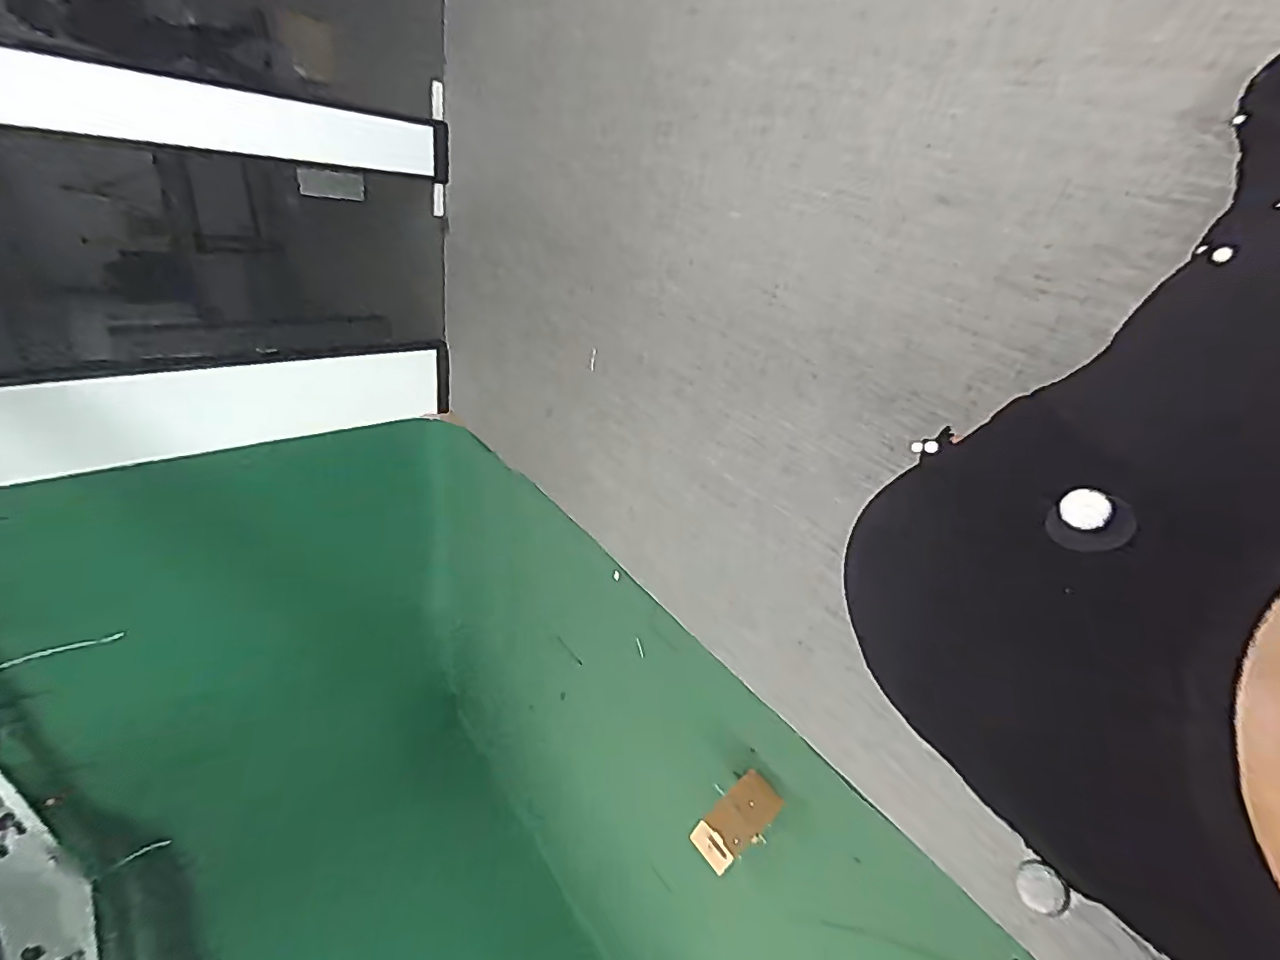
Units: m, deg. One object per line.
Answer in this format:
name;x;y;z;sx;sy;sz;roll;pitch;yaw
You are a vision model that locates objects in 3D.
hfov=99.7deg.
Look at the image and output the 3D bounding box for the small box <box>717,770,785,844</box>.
small box;0.449;1.317;2.193;0.179;0.176;0.168;41;131;32
